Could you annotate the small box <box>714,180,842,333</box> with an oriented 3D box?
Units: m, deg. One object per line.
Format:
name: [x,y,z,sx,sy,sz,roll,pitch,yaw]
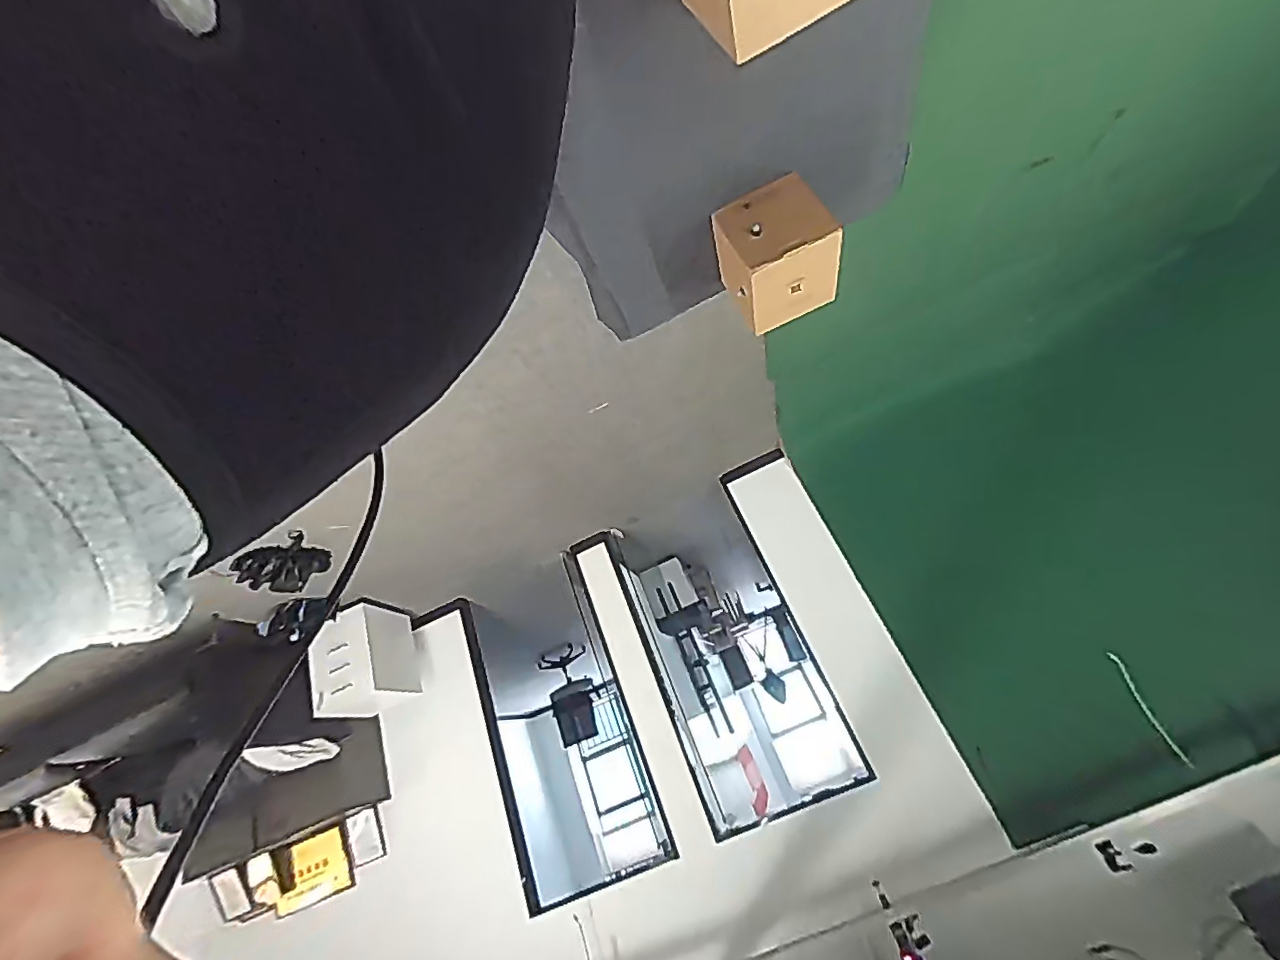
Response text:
small box: [0.248,-0.413,0.992,0.168,0.176,0.179,-24,155,5]

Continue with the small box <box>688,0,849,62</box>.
small box: [0.132,-0.592,0.547,0.179,0.176,0.168,-26,154,8]
